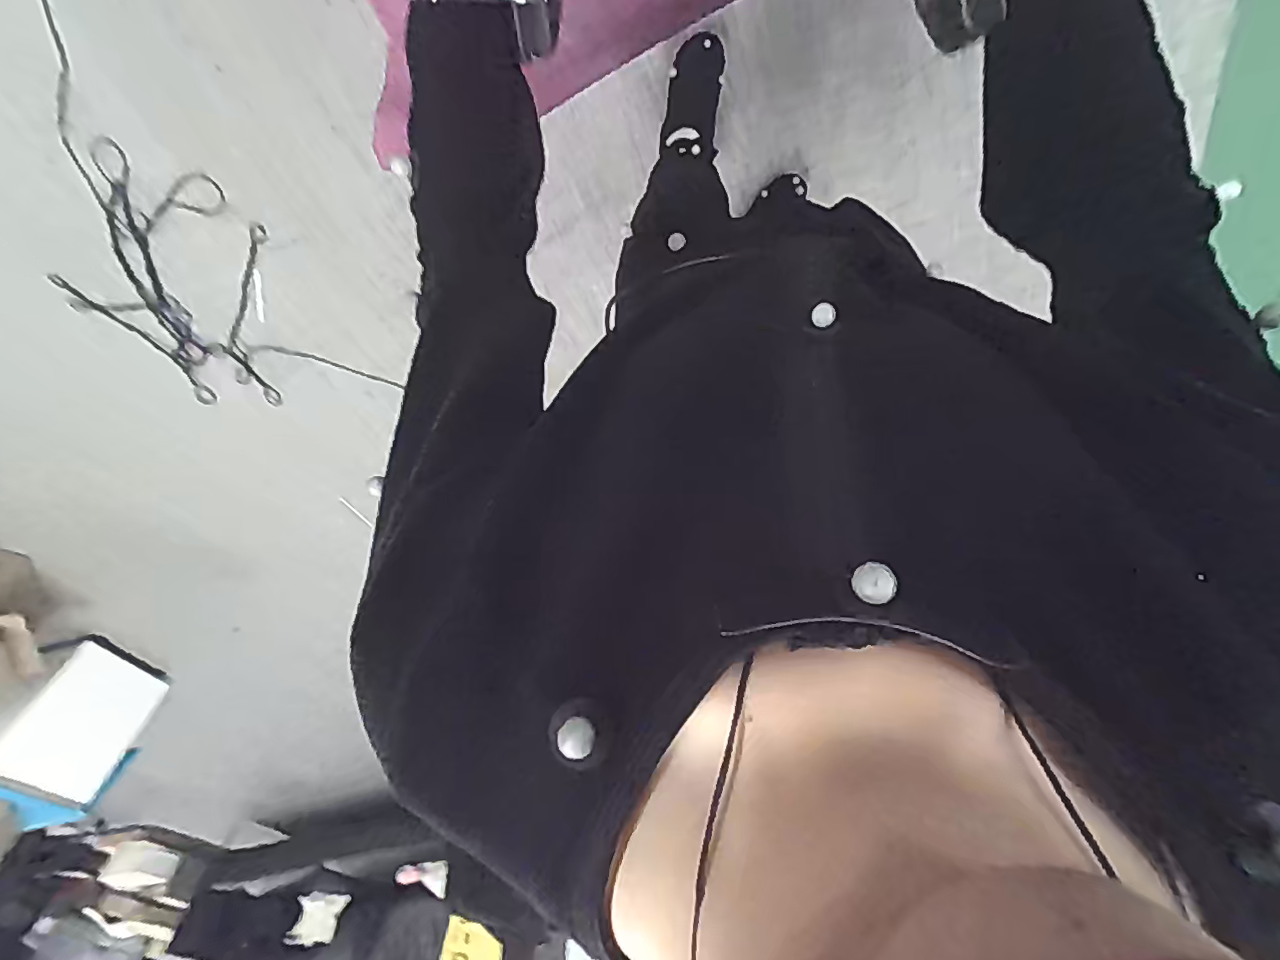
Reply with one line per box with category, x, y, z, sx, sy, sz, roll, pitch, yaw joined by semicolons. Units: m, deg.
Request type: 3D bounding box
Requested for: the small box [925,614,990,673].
small box;1.328;0.688;2.279;0.179;0.176;0.168;-10;128;6
